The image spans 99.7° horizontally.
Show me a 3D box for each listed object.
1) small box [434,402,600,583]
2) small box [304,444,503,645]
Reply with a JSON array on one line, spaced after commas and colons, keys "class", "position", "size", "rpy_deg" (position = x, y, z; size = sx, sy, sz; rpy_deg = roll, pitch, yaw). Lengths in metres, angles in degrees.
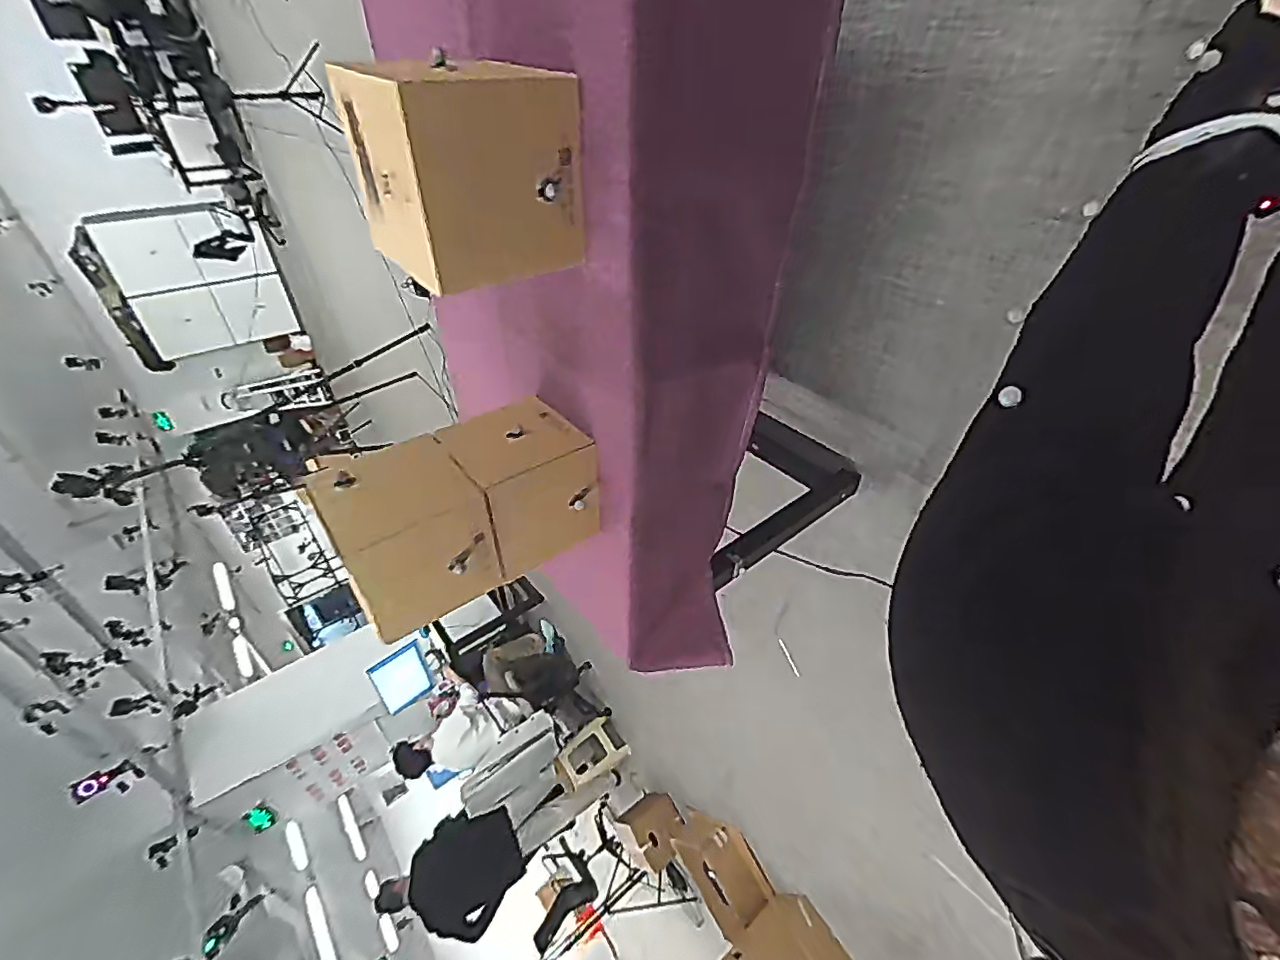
[{"class": "small box", "position": [-0.172, 0.008, 0.793], "size": [0.168, 0.176, 0.179], "rpy_deg": [37, 141, 38]}, {"class": "small box", "position": [-0.303, 0.072, 0.713], "size": [0.179, 0.176, 0.168], "rpy_deg": [38, 142, 36]}]
